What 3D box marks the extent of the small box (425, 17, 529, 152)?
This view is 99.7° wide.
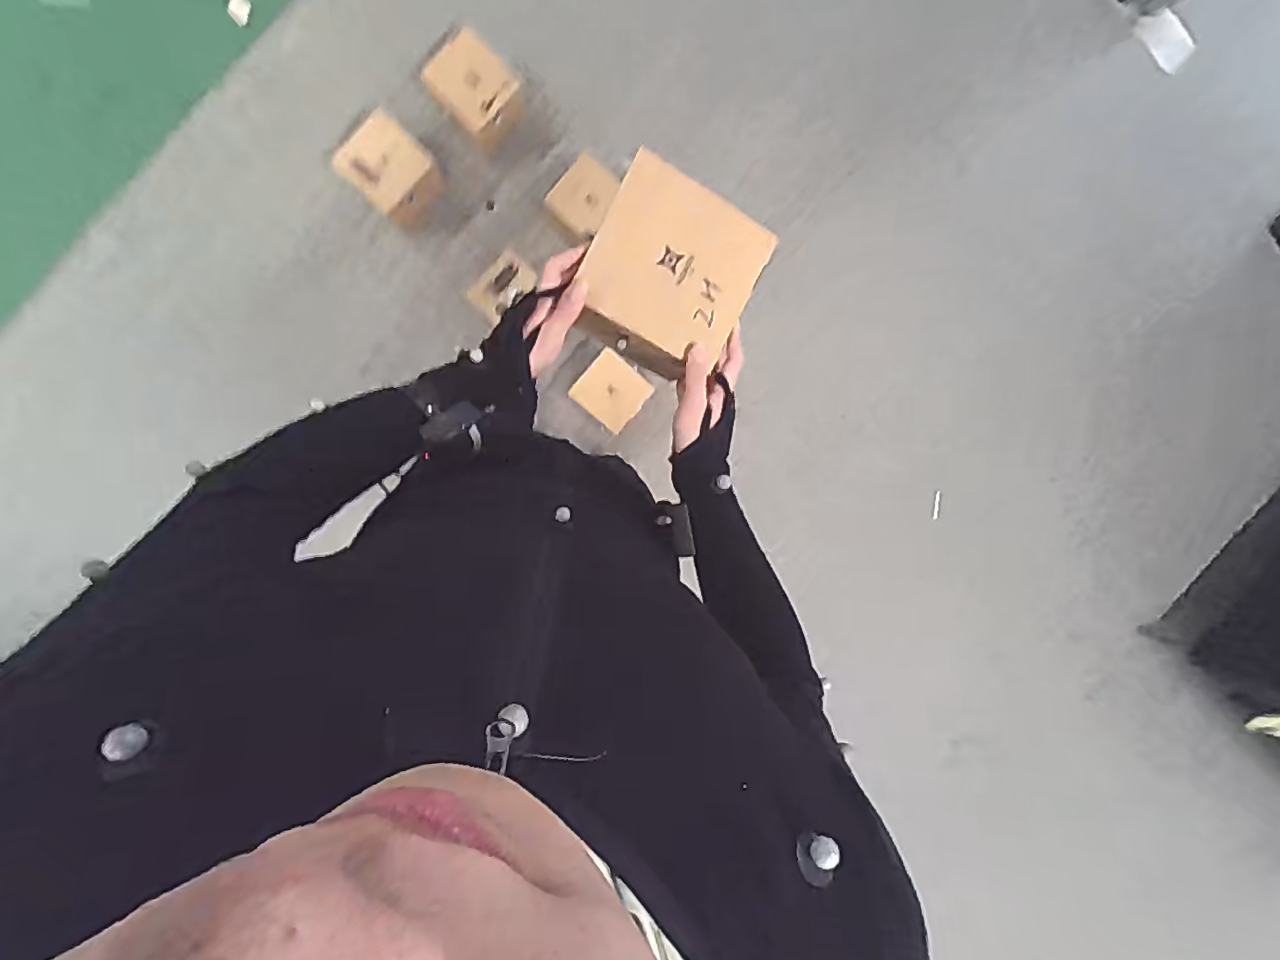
[{"bbox_3d":[-0.398,-0.971,1.347,0.168,0.176,0.179,-45,102,0],"label":"small box"}]

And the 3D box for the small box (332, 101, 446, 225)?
[{"bbox_3d":[-0.610,-0.774,1.343,0.168,0.176,0.179,43,89,-13],"label":"small box"}]

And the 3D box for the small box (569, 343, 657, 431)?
[{"bbox_3d":[-0.084,-0.254,1.508,0.179,0.176,0.168,41,91,-13],"label":"small box"}]

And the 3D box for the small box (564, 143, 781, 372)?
[{"bbox_3d":[0.023,-0.235,0.630,0.179,0.176,0.168,26,92,-14],"label":"small box"}]

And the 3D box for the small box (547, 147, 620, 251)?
[{"bbox_3d":[-0.127,-0.721,1.428,0.179,0.176,0.168,42,90,-12],"label":"small box"}]
